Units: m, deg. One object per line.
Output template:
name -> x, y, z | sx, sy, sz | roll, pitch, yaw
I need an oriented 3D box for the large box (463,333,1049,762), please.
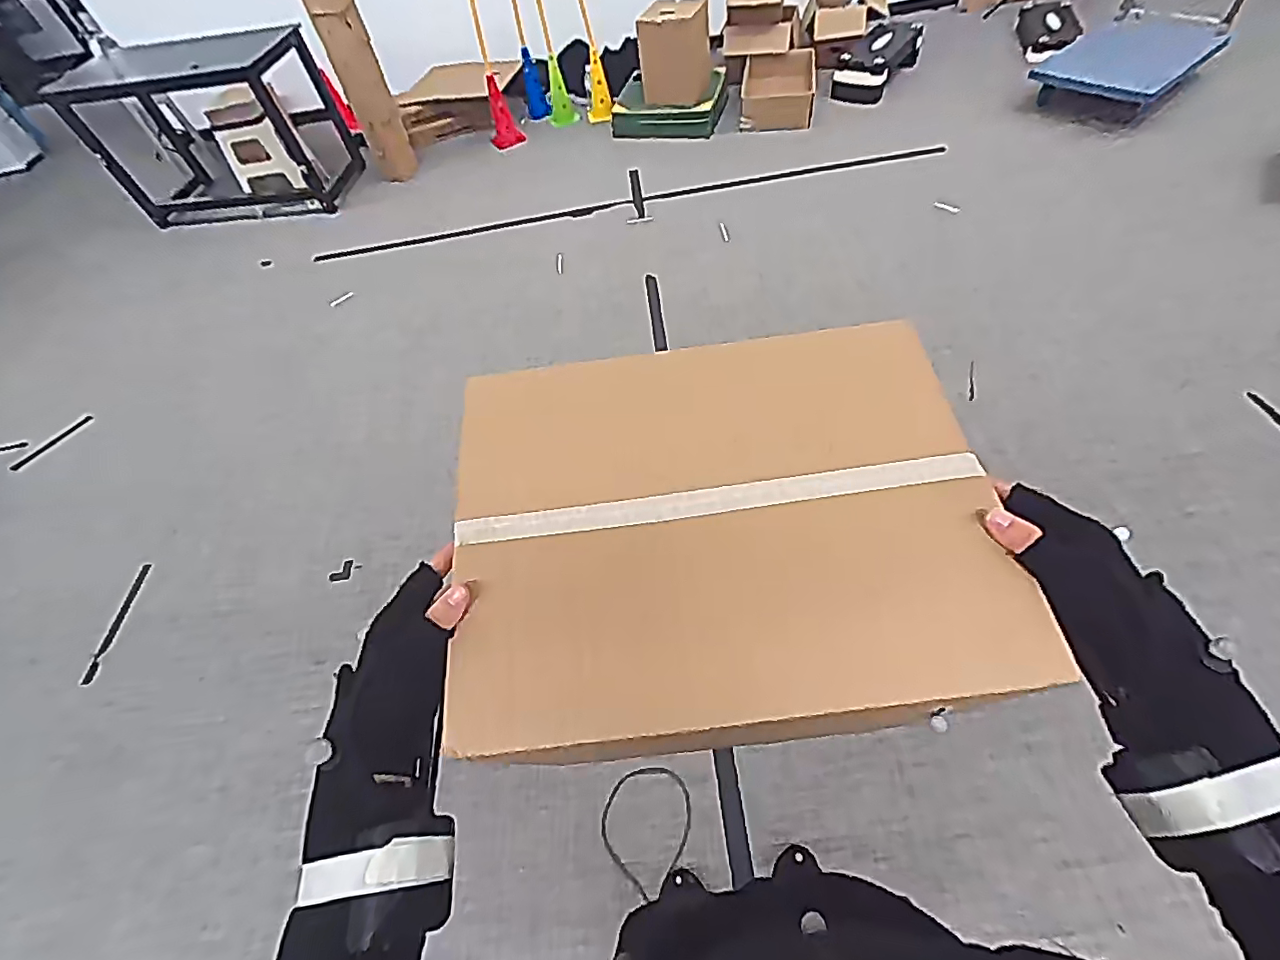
large box -> 0.073, 0.094, 0.559 | 0.408, 0.320, 0.320 | -8, 61, 1
